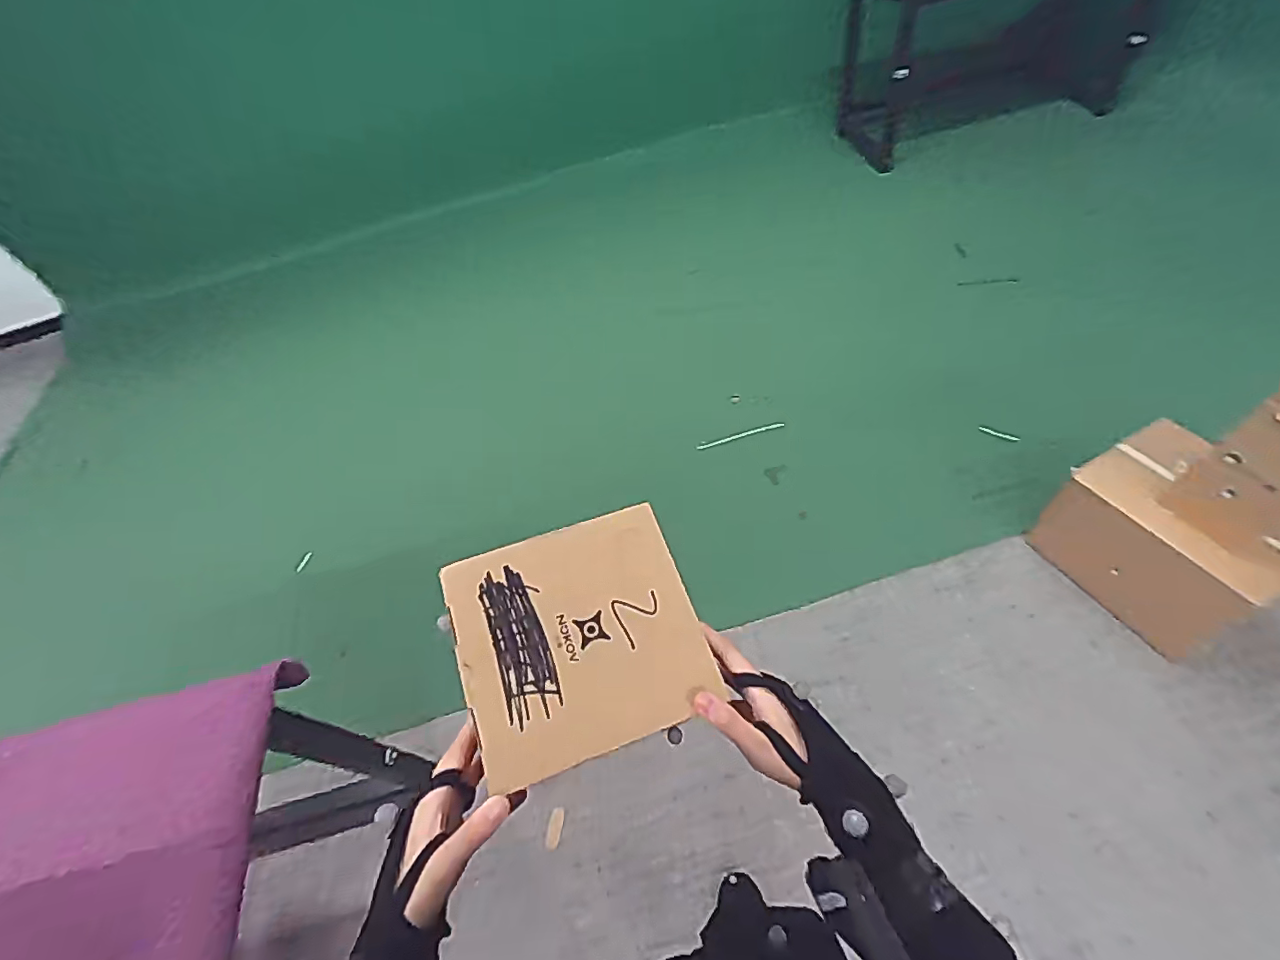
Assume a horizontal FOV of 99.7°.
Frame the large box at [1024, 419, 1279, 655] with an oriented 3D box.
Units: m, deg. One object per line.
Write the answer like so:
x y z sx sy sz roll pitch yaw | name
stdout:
1.267 0.134 1.308 0.320 0.320 0.408 -28 51 -10 | large box

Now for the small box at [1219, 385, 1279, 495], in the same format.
1.214 -0.084 0.965 0.179 0.176 0.168 -25 52 -5 | small box

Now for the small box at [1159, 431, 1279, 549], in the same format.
1.236 0.007 1.099 0.168 0.176 0.179 -27 53 -6 | small box
